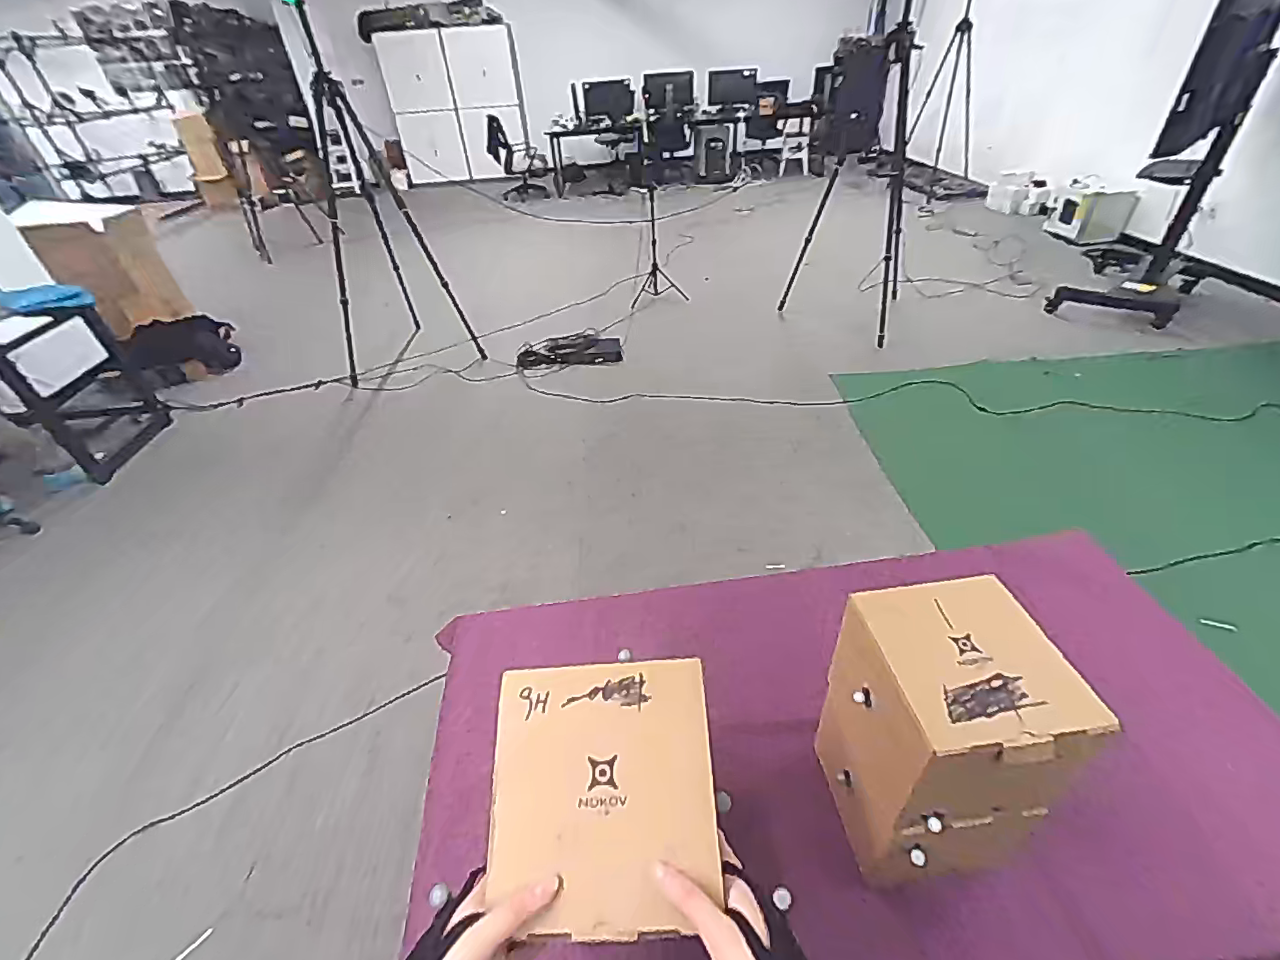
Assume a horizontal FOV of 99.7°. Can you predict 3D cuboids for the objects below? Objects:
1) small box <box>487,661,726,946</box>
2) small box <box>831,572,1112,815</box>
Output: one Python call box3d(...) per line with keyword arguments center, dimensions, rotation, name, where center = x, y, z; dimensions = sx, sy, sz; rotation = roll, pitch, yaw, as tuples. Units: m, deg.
box3d(center=(-0.018, 0.263, 0.463), dimensions=(0.168, 0.176, 0.179), rotation=(-5, 61, 4), name="small box")
box3d(center=(0.320, 0.226, 0.570), dimensions=(0.168, 0.176, 0.179), rotation=(-7, 37, -3), name="small box")
